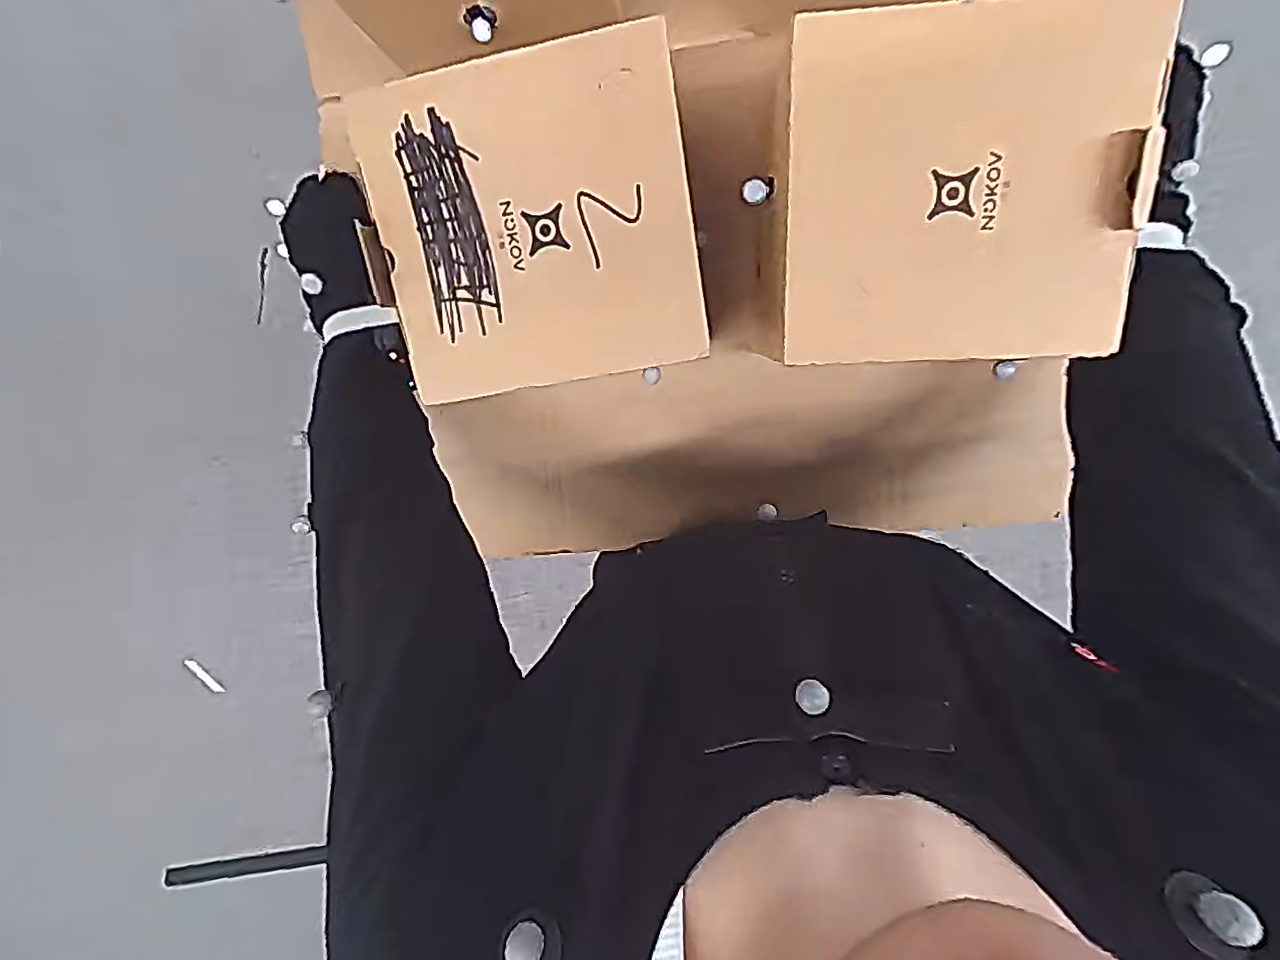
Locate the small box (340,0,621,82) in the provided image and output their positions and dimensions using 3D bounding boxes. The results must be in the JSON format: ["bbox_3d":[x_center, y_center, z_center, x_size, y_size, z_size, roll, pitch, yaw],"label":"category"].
[{"bbox_3d":[-0.109,-0.381,0.330,0.168,0.176,0.179,-5,99,6],"label":"small box"}]
